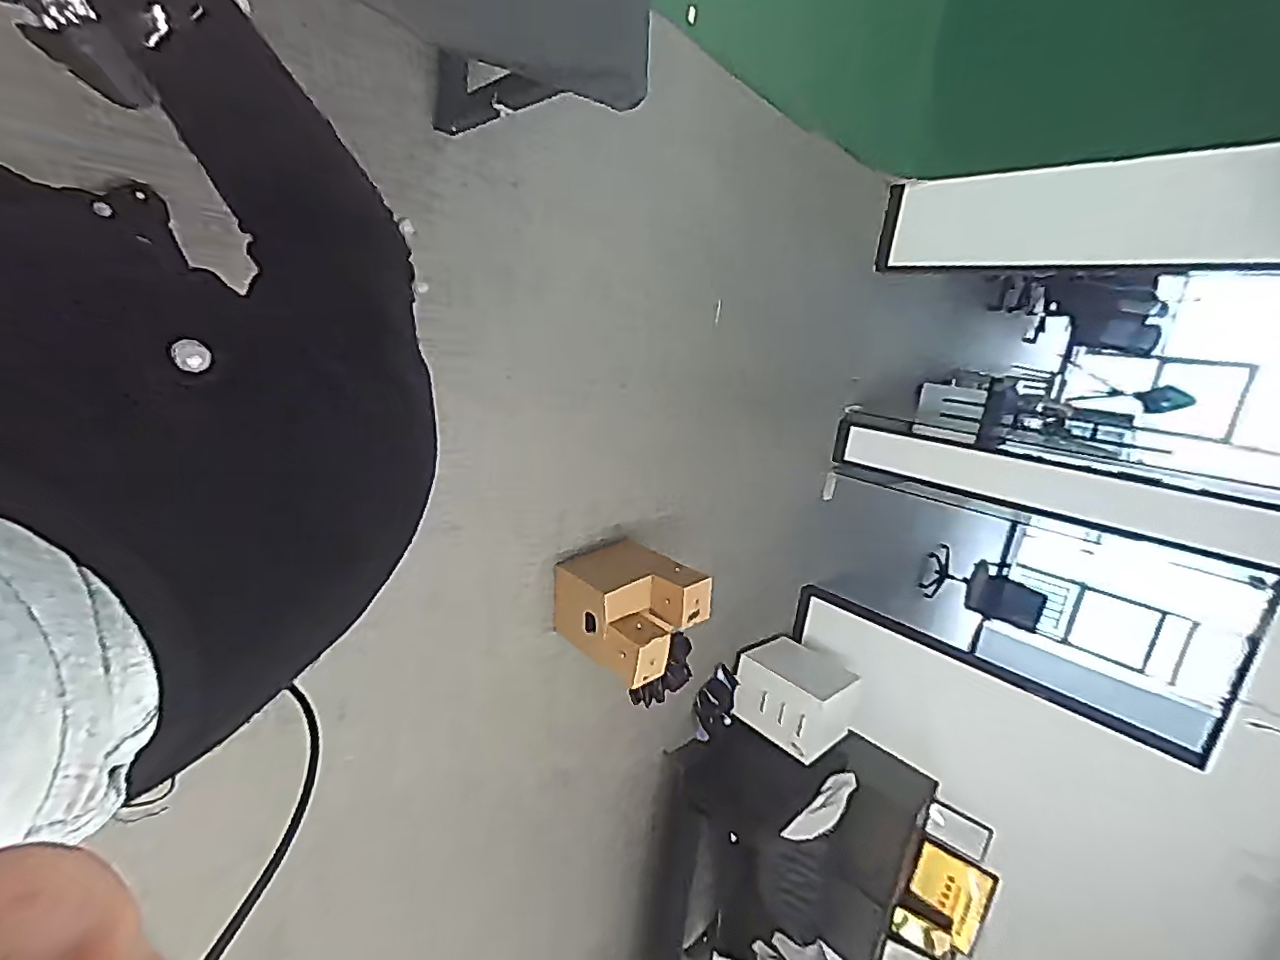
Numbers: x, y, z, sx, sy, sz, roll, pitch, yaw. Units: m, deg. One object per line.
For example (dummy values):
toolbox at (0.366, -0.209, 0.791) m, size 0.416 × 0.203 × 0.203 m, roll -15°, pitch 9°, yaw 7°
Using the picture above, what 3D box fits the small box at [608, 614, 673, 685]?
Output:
small box at (-0.001, 0.613, 1.990) m, size 0.168 × 0.176 × 0.179 m, roll -9°, pitch 111°, yaw -45°

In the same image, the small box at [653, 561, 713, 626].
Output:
small box at (0.163, 0.435, 2.102) m, size 0.168 × 0.176 × 0.179 m, roll -12°, pitch 109°, yaw -44°
